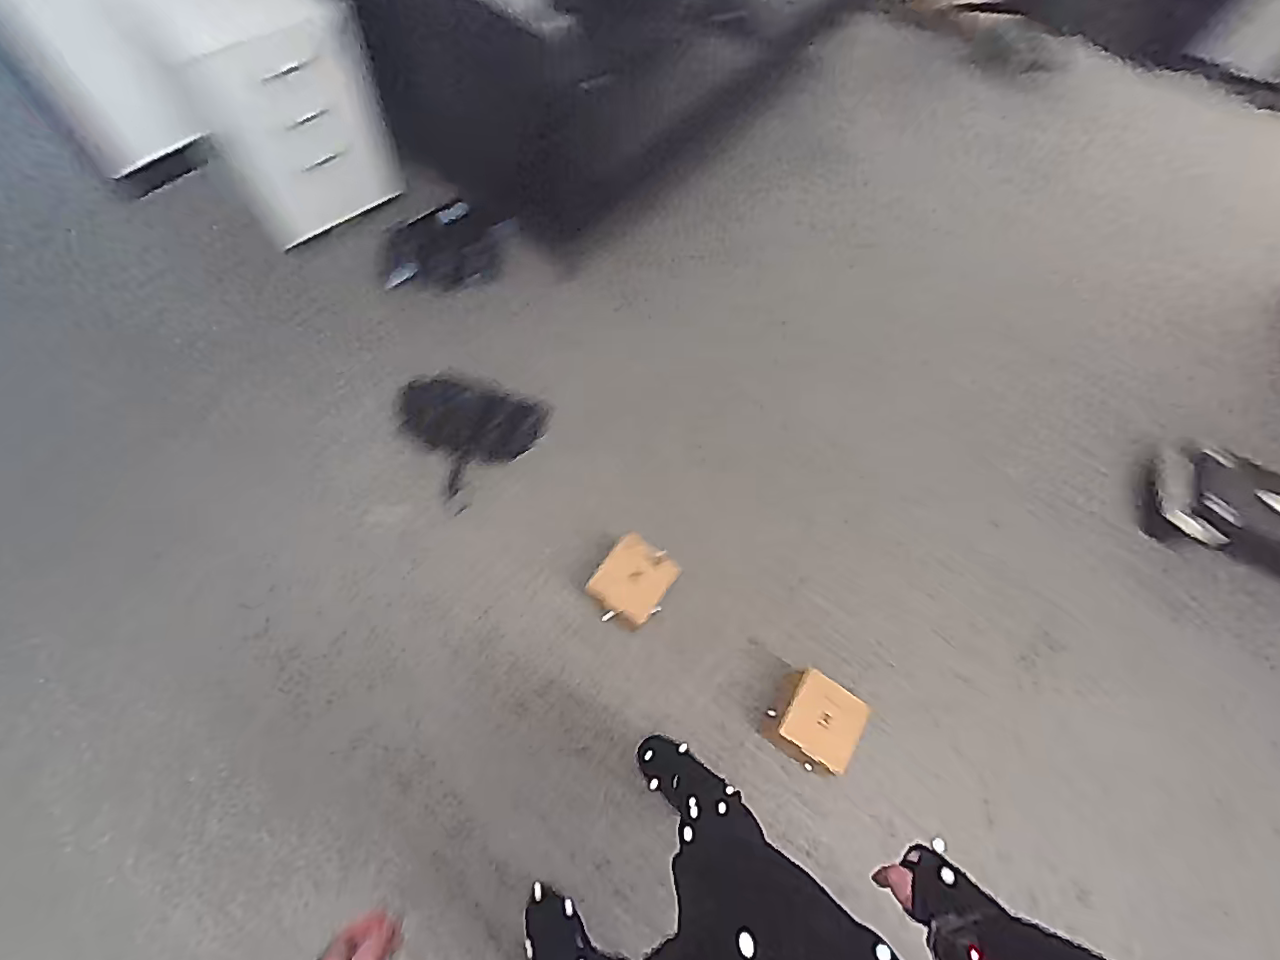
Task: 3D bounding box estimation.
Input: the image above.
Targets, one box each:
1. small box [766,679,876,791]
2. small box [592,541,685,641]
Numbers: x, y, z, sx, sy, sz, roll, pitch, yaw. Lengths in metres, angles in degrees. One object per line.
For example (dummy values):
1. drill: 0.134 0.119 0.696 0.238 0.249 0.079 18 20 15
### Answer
1. small box: 0.423 0.606 1.291 0.168 0.176 0.179 34 64 9
2. small box: -0.007 0.293 1.395 0.168 0.176 0.179 35 67 10
